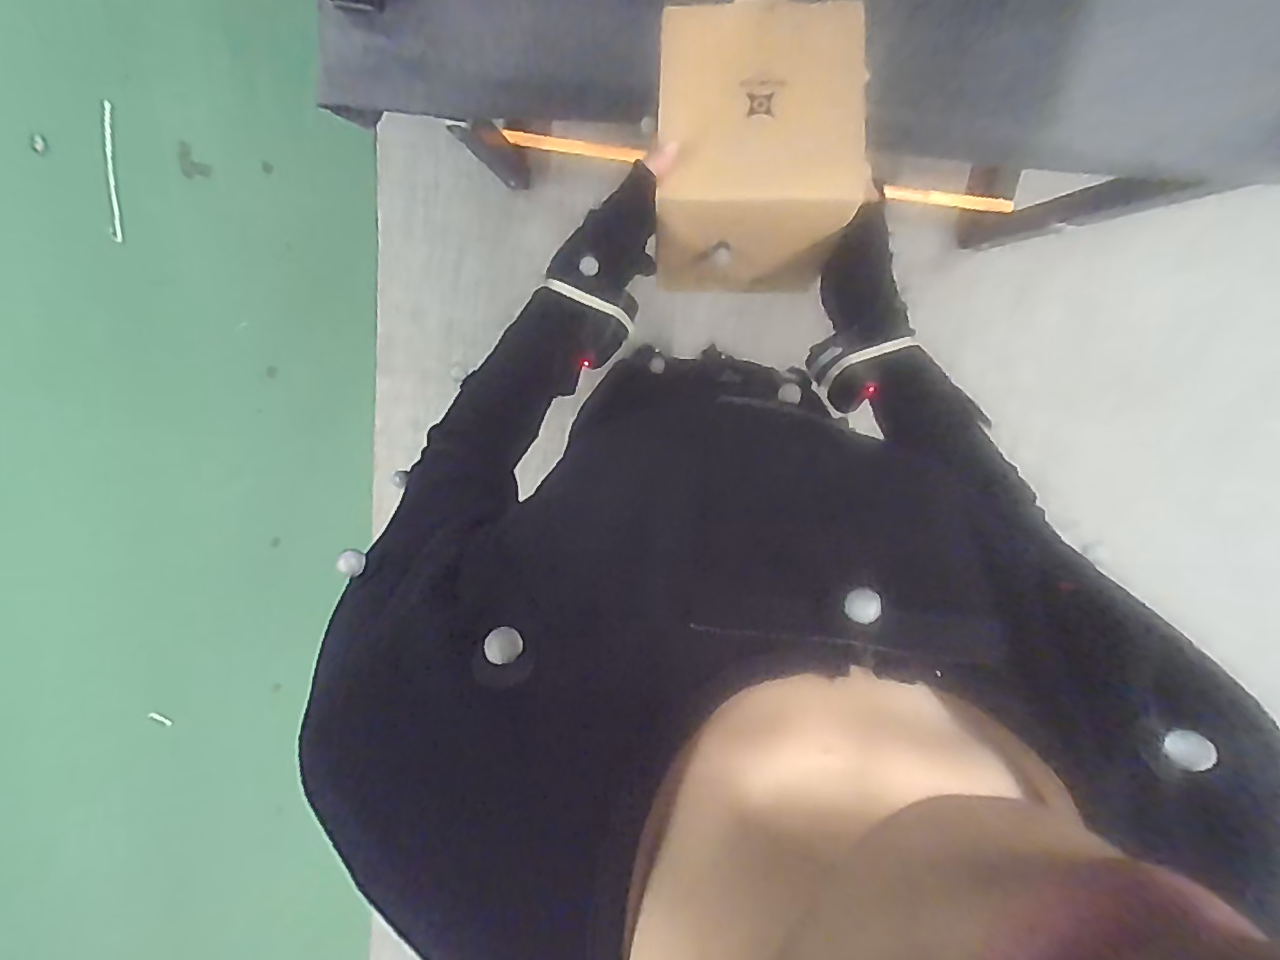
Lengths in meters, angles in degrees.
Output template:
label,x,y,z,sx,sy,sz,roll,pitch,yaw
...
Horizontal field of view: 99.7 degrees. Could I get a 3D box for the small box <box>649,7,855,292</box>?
label,x,y,z,sx,sy,sz,roll,pitch,yaw
small box,0.099,-0.298,0.523,0.168,0.176,0.179,2,82,4
